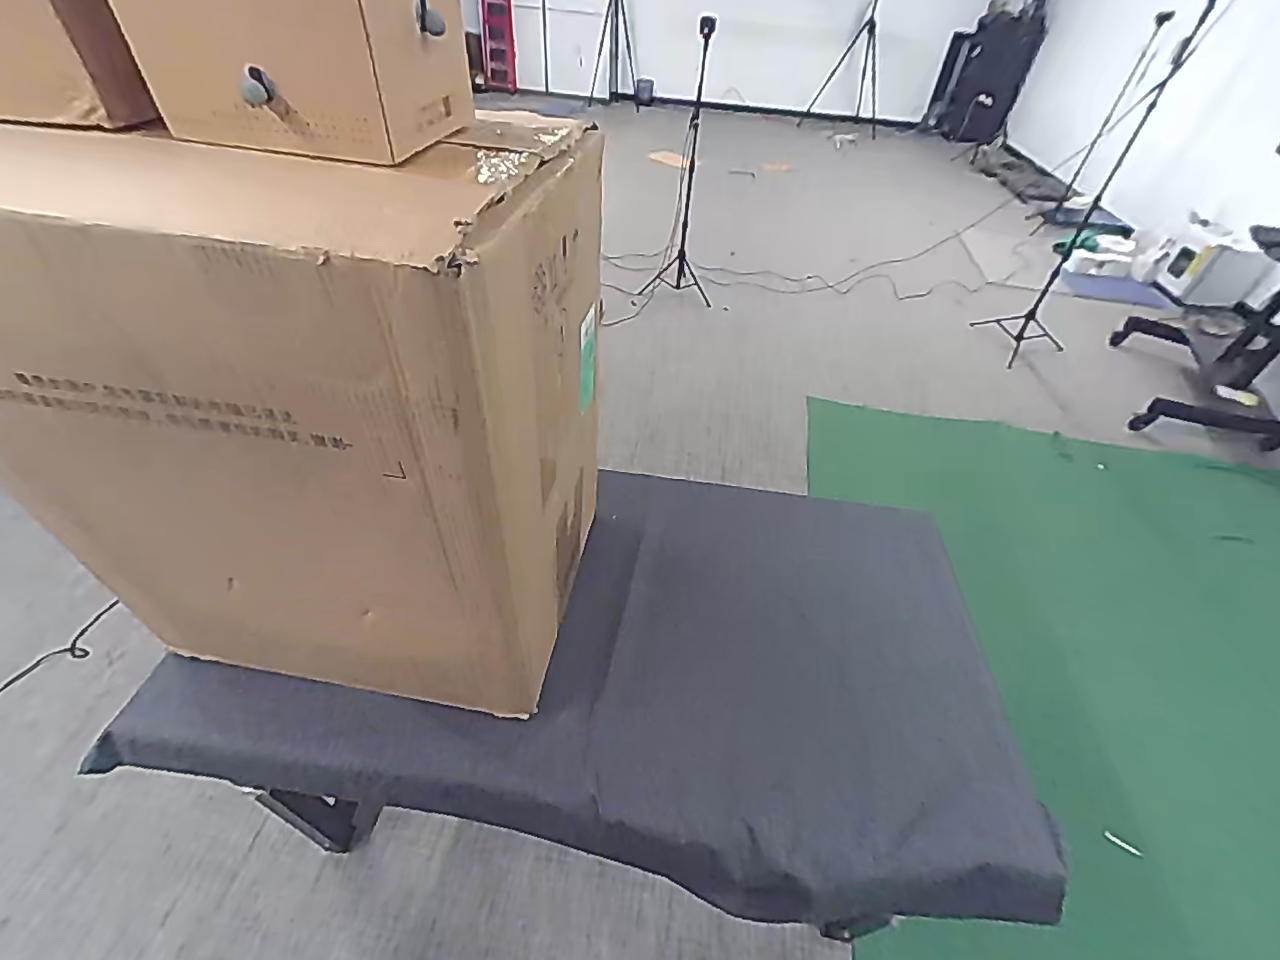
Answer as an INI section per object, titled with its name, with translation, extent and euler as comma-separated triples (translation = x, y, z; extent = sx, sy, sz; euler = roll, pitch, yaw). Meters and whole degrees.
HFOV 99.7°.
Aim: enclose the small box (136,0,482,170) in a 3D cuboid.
[small box]
translation = -0.235, -0.350, 0.407
extent = 0.179, 0.176, 0.168
euler = 8, 44, 3
